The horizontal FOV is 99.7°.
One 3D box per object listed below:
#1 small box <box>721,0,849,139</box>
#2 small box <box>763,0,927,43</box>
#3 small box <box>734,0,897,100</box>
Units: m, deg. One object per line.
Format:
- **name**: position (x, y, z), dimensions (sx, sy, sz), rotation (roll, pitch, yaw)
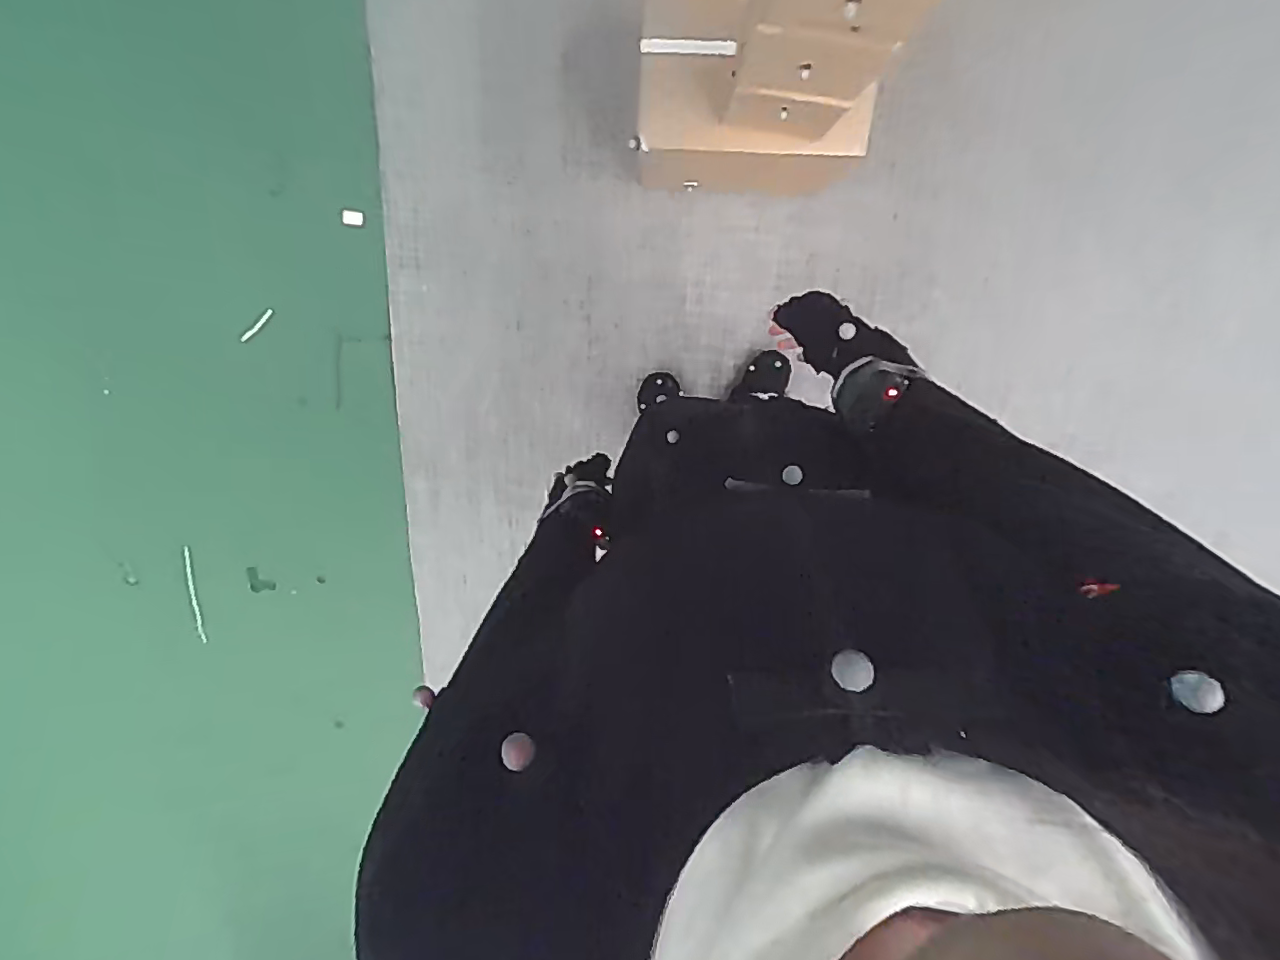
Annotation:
- **small box**: position (0.232, -0.659, 0.848), dimensions (0.179, 0.176, 0.168), rotation (8, 108, -2)
- **small box**: position (0.225, -0.574, 0.533), dimensions (0.168, 0.176, 0.179), rotation (8, 109, 0)
- **small box**: position (0.228, -0.614, 0.691), dimensions (0.179, 0.176, 0.168), rotation (8, 108, 1)
